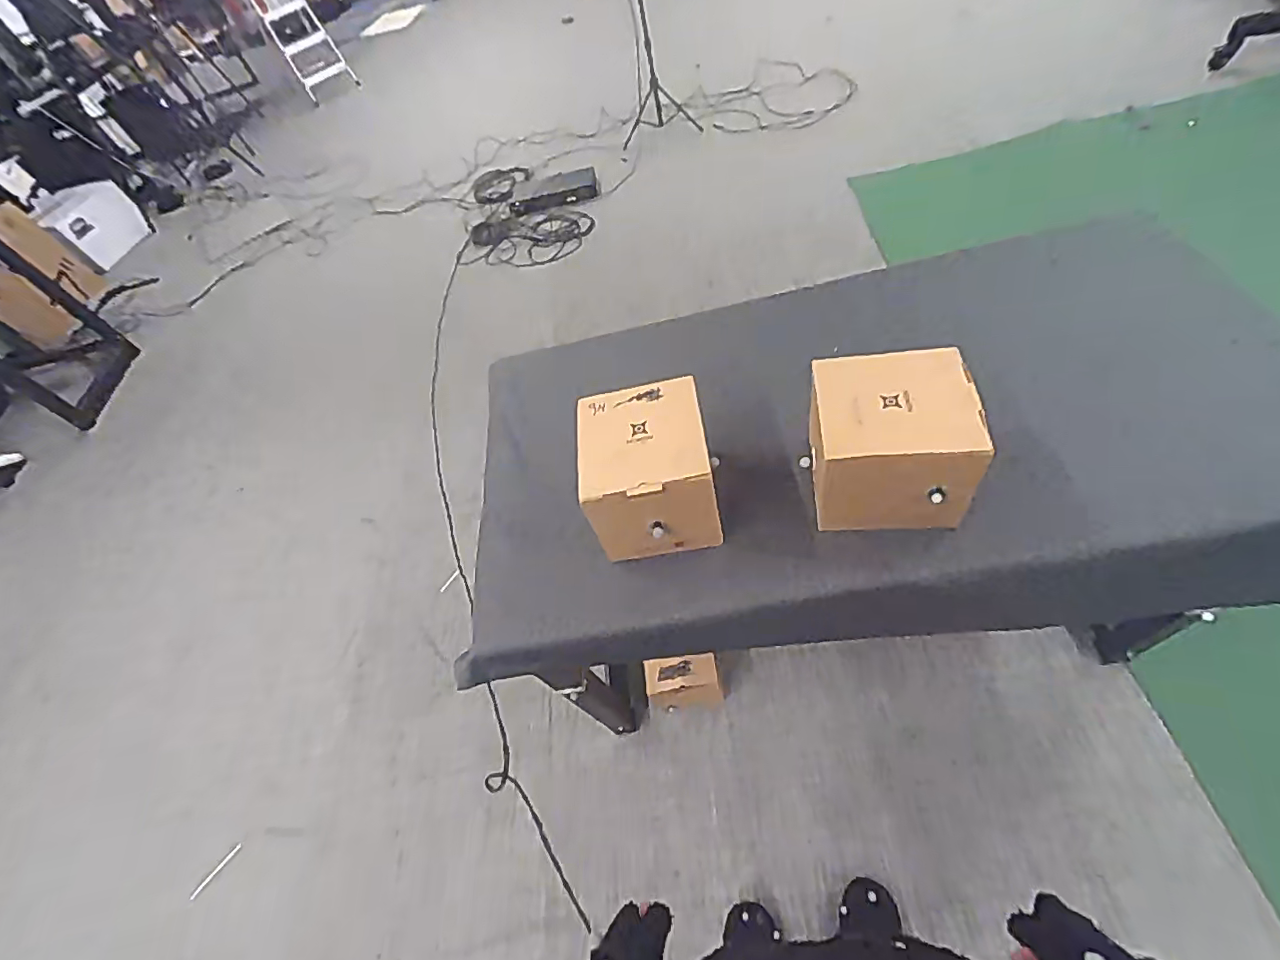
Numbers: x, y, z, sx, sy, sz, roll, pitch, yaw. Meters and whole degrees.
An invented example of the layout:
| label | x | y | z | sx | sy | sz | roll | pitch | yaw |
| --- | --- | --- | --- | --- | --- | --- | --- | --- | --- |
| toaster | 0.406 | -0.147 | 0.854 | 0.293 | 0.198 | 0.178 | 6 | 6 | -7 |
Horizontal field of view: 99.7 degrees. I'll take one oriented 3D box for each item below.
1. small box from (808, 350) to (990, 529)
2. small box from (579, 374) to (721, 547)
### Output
| label | x | y | z | sx | sy | sz | roll | pitch | yaw |
| --- | --- | --- | --- | --- | --- | --- | --- | --- | --- |
| small box | 0.321 | -0.045 | 0.711 | 0.179 | 0.176 | 0.168 | -3 | 55 | 14 |
| small box | 0.017 | -0.018 | 0.764 | 0.168 | 0.176 | 0.179 | -9 | 54 | 7 |
